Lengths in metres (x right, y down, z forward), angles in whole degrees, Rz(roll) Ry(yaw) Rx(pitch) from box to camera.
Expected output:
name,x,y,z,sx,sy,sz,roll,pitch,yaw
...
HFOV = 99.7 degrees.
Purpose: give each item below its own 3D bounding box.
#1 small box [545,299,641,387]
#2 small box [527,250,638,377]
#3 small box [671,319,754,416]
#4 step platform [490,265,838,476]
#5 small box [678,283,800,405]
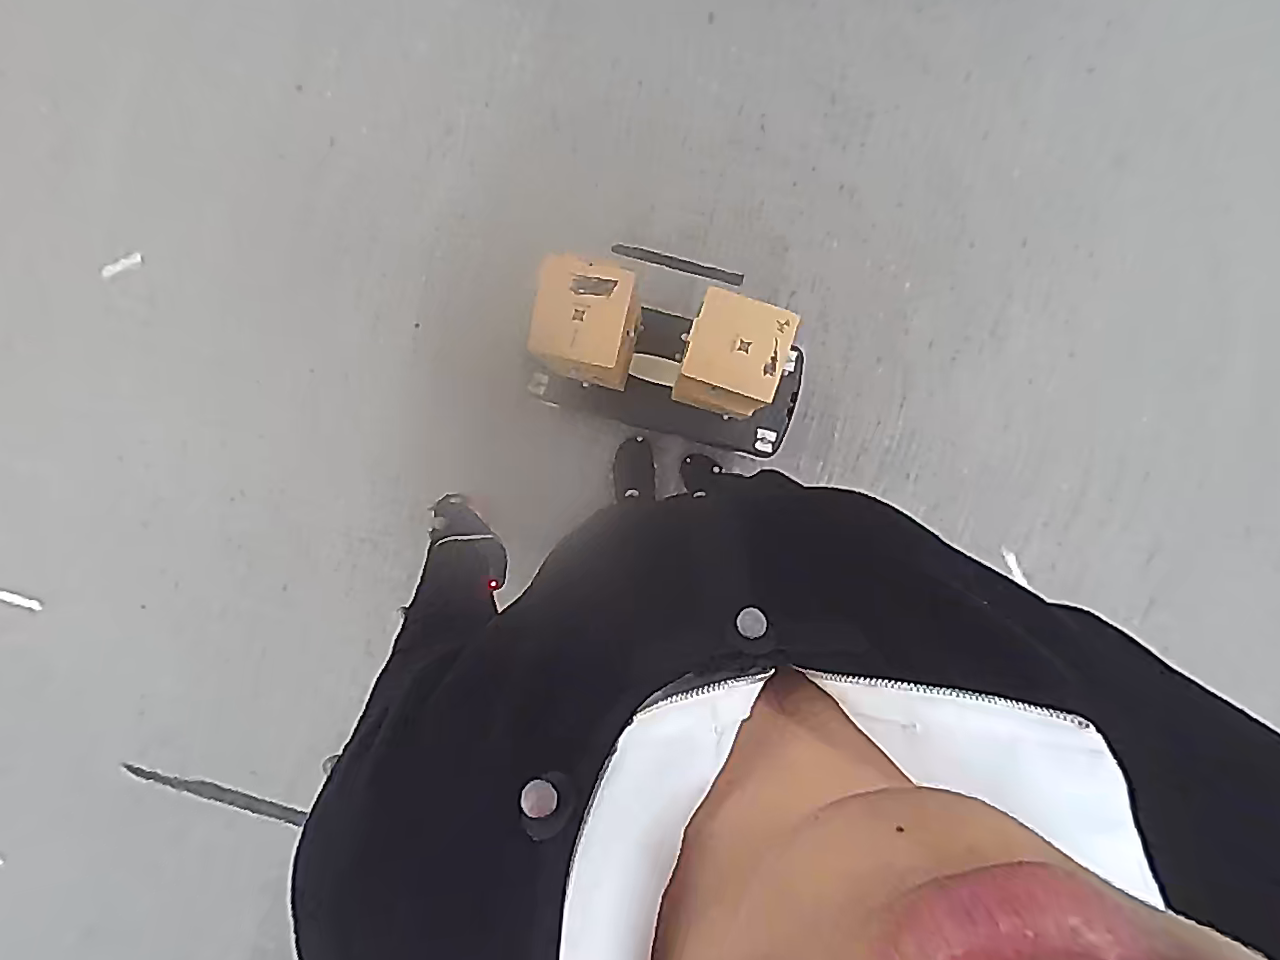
name,x,y,z,sx,sy,sz,roll,pitch,yaw
small box,-0.099,-0.314,1.196,0.168,0.176,0.179,15,94,0
small box,-0.103,-0.307,1.032,0.168,0.176,0.179,13,95,0
small box,0.174,-0.243,1.198,0.179,0.176,0.168,17,94,2
step platform,0.047,-0.223,1.164,0.684,0.204,0.286,15,94,0
small box,0.177,-0.248,1.033,0.179,0.176,0.168,19,94,1
